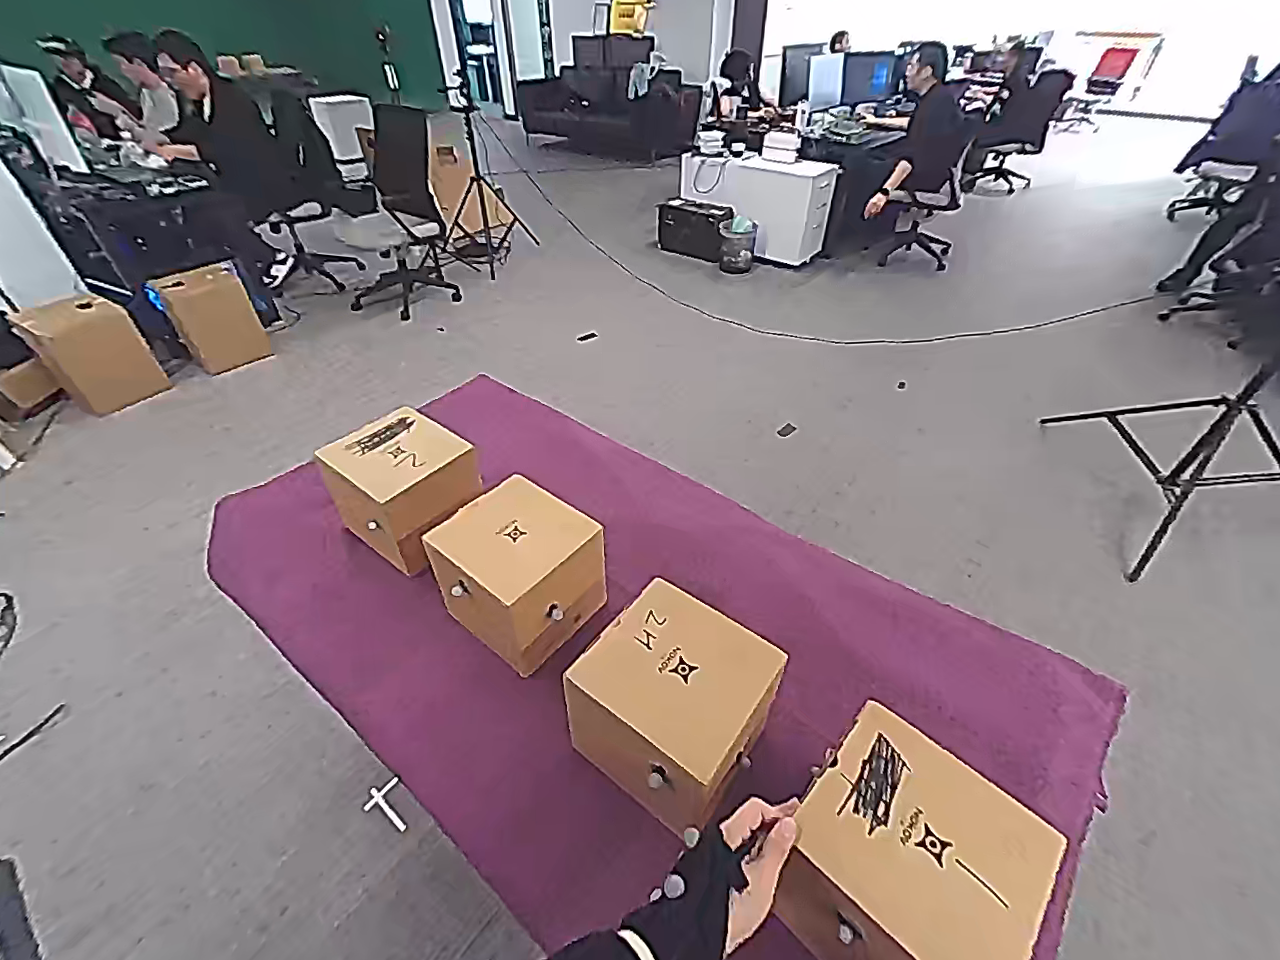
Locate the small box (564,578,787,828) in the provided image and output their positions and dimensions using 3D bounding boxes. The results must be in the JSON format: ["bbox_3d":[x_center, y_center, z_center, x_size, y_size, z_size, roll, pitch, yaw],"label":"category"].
[{"bbox_3d":[0.038,0.252,0.610,0.179,0.176,0.168,26,46,28],"label":"small box"}]

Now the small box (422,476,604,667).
[{"bbox_3d":[-0.165,0.131,0.757,0.179,0.176,0.168,27,48,29],"label":"small box"}]

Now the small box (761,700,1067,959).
[{"bbox_3d":[0.231,0.351,0.494,0.179,0.176,0.168,32,50,32],"label":"small box"}]
